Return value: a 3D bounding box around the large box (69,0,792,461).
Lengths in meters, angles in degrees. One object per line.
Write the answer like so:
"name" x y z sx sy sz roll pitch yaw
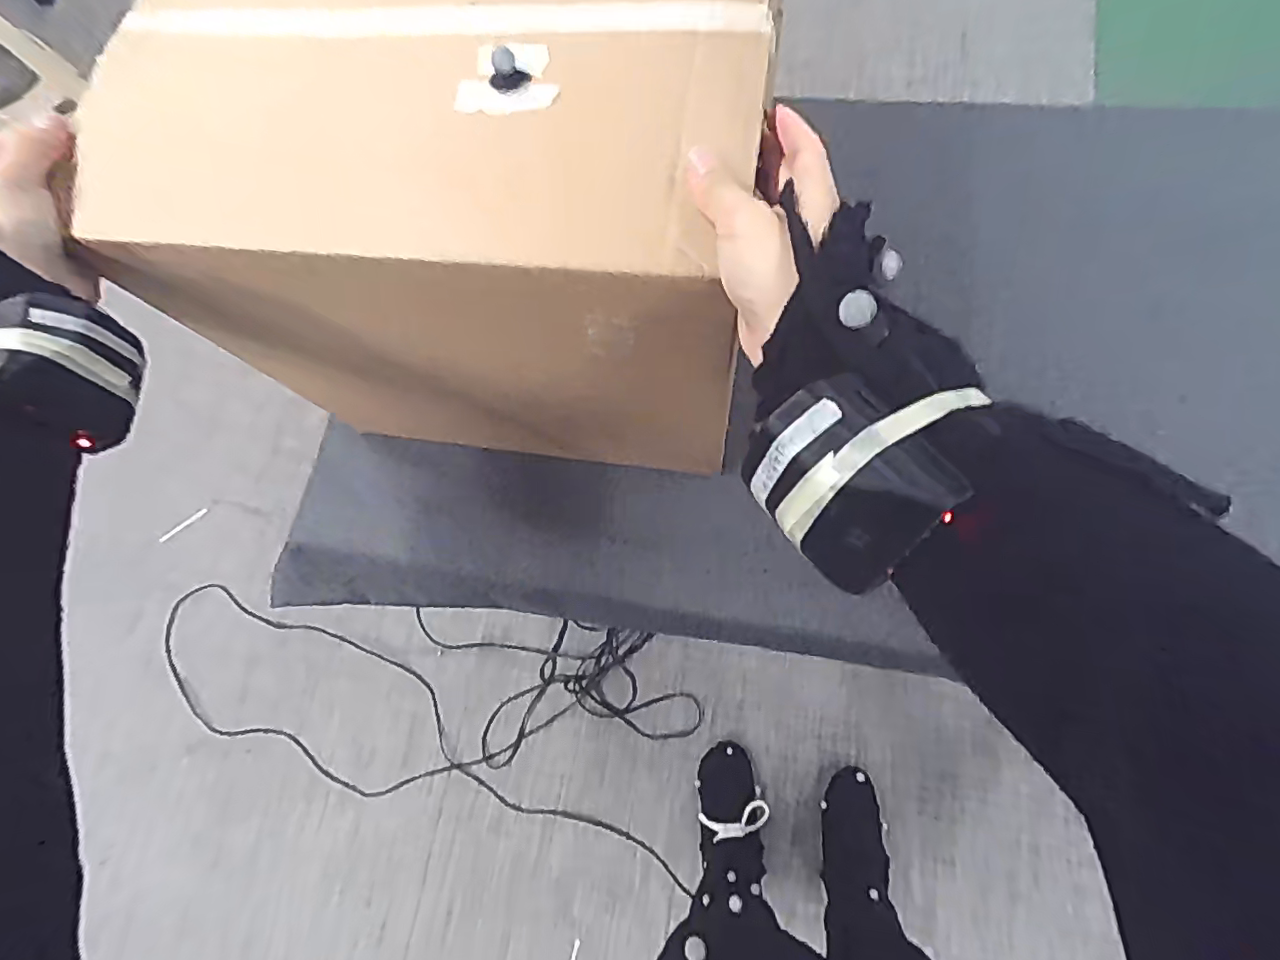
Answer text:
"large box" -0.102 -0.223 0.469 0.408 0.320 0.320 7 75 7
